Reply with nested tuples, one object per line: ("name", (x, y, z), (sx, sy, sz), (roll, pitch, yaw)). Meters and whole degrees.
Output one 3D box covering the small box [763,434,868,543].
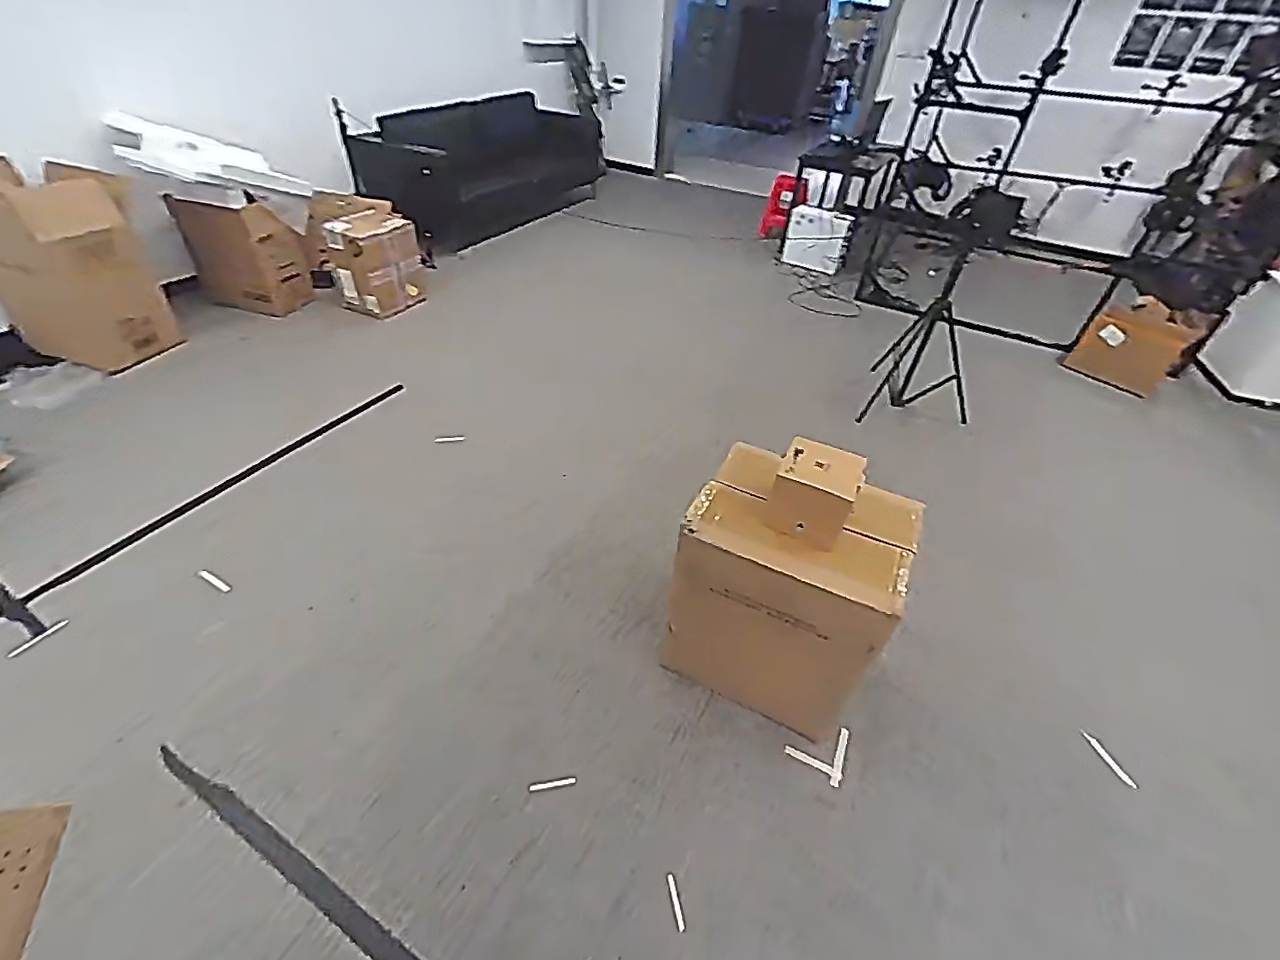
("small box", (0.411, 0.024, 1.280), (0.179, 0.176, 0.168), (21, 45, 19))
